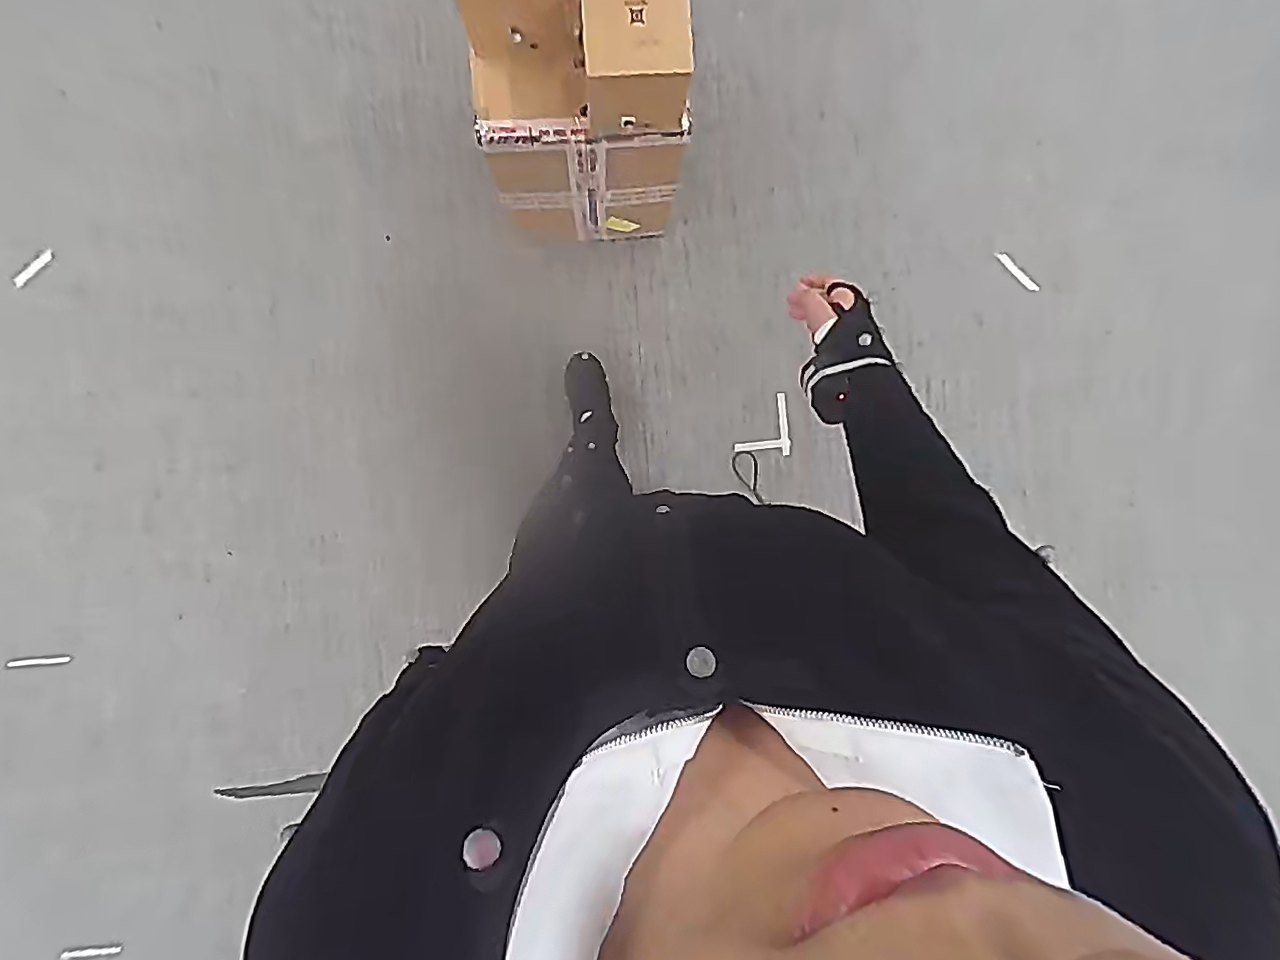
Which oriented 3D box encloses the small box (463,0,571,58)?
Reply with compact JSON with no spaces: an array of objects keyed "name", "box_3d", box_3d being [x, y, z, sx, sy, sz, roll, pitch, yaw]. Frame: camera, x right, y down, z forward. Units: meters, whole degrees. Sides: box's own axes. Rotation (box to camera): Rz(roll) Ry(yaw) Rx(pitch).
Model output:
[{"name":"small box","box_3d":[-0.206,-0.832,0.870,0.168,0.176,0.179,-5,95,-1]}]
